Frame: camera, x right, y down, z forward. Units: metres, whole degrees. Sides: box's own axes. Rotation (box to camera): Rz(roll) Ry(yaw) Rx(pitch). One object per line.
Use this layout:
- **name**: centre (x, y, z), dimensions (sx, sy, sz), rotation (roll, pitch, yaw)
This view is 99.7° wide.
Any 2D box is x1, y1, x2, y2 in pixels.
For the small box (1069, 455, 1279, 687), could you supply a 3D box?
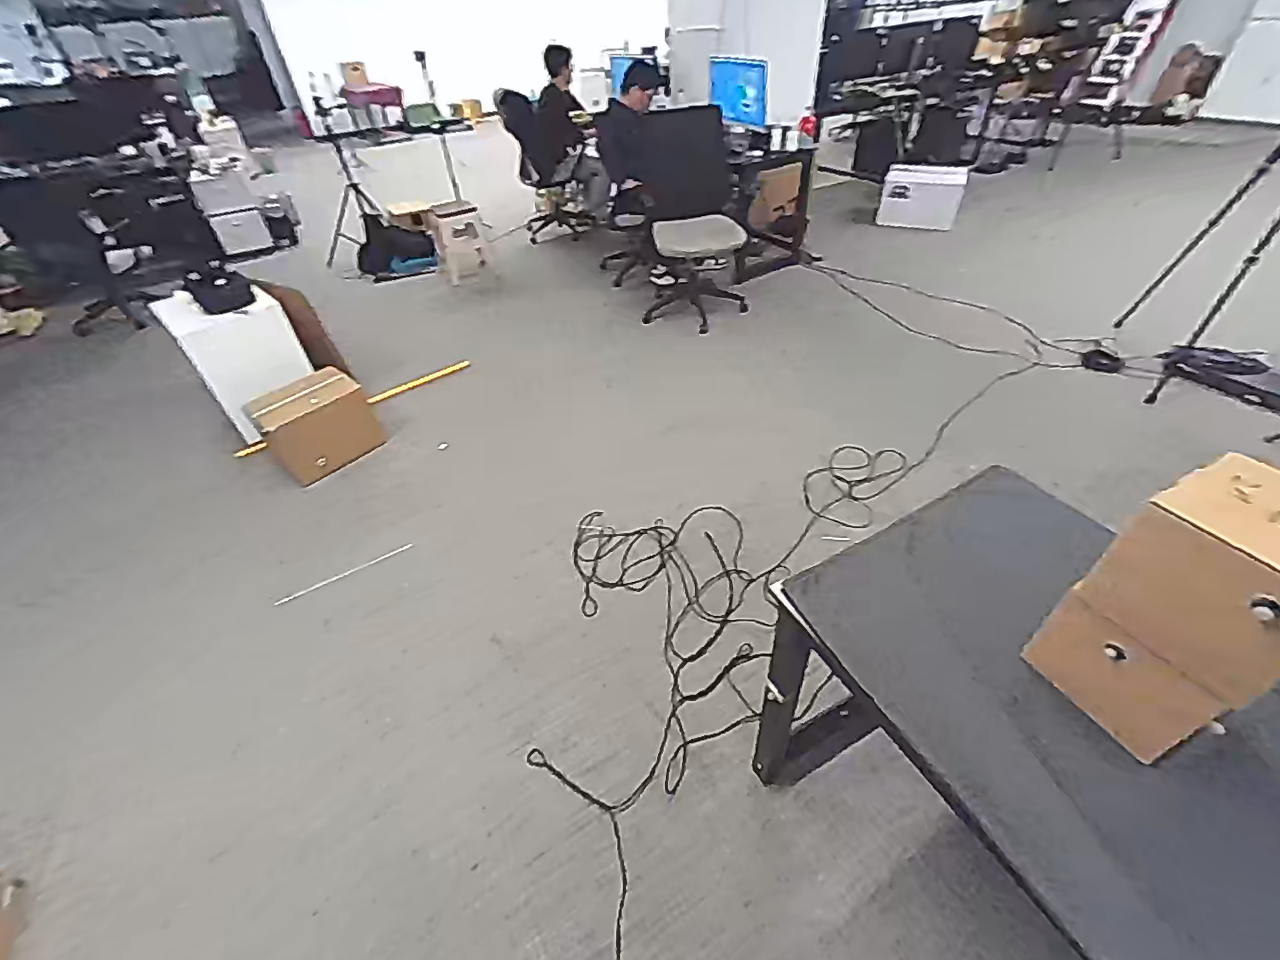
- **small box**: centre (0.654, 0.106, 0.612), dimensions (0.168, 0.176, 0.179), rotation (-20, 44, -19)

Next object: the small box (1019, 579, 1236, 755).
- **small box**: centre (0.665, 0.225, 0.726), dimensions (0.168, 0.176, 0.179), rotation (-20, 44, -17)
